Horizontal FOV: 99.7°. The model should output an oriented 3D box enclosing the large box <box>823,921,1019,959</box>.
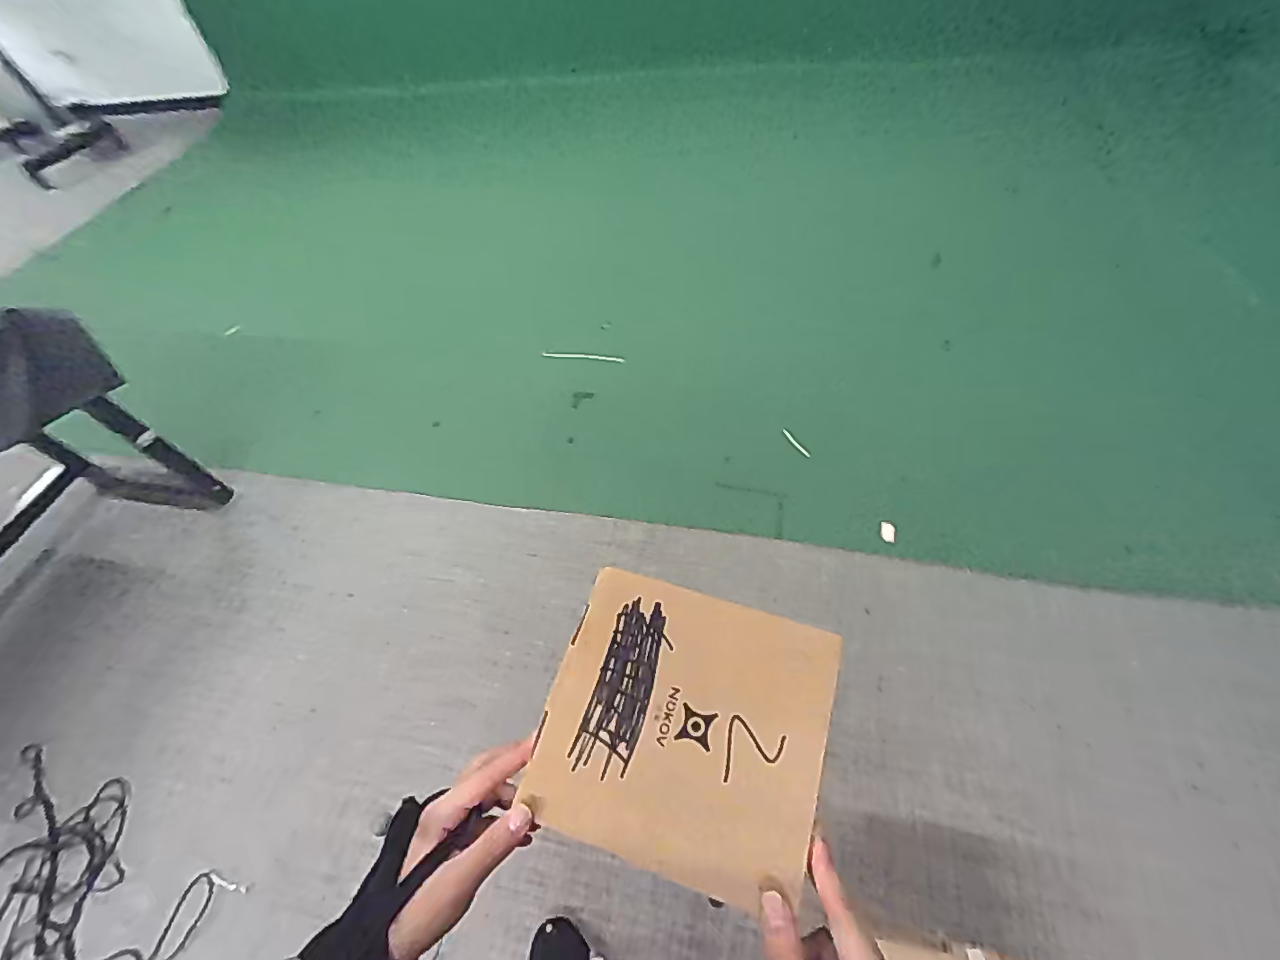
[{"bbox_3d":[0.437,0.896,0.737,0.320,0.320,0.408,4,56,12],"label":"large box"}]
